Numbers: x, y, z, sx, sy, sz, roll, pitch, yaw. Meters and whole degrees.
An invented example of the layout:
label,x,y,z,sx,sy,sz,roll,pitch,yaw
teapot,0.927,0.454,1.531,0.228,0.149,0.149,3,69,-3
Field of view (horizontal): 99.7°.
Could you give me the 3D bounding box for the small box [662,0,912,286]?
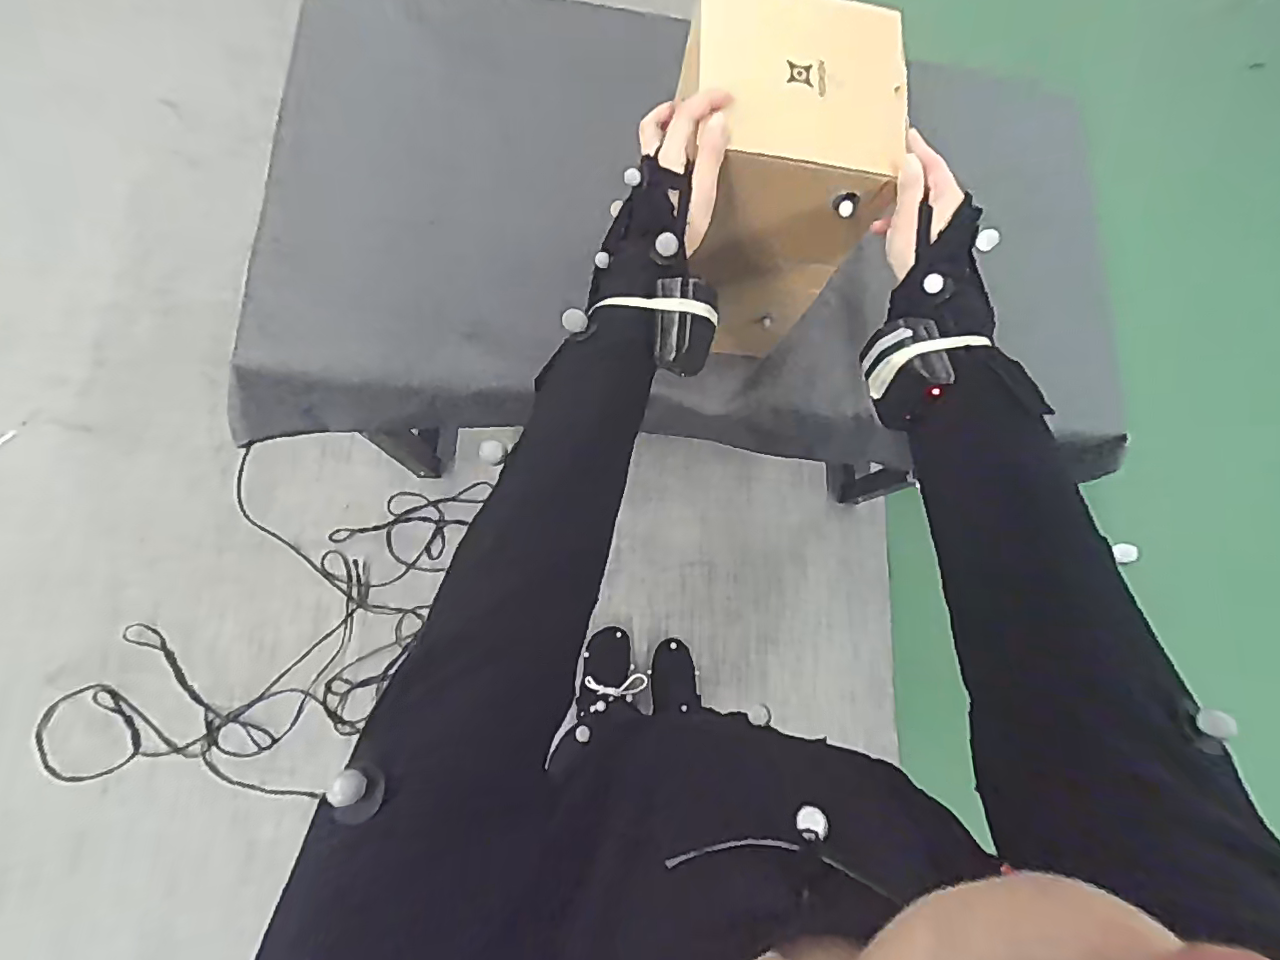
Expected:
label,x,y,z,sx,sy,sz,roll,pitch,yaw
small box,0.119,-0.303,0.505,0.179,0.176,0.168,4,77,-8
